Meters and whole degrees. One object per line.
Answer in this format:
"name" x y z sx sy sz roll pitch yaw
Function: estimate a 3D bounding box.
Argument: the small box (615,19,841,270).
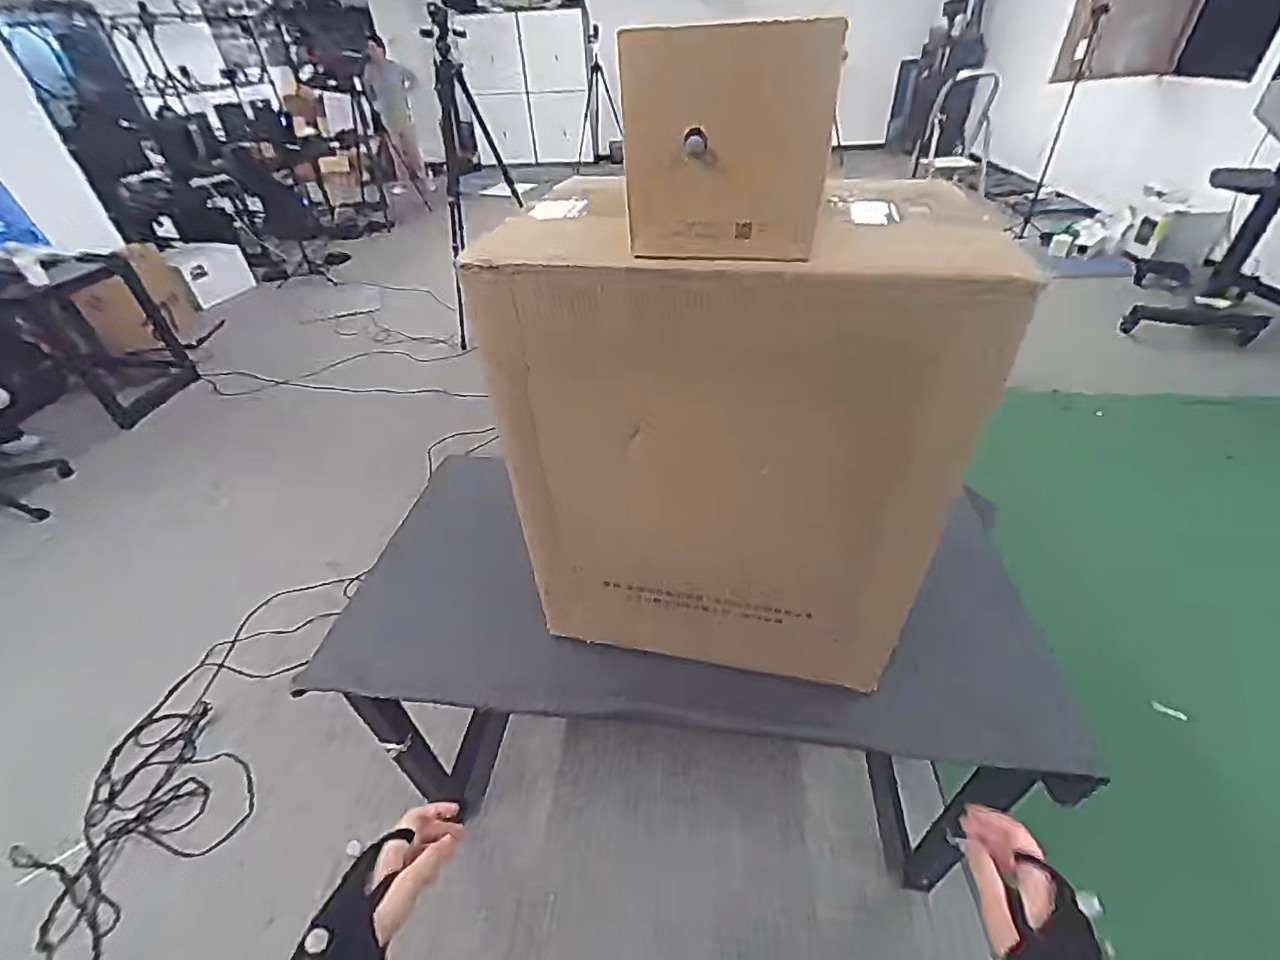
"small box" 0.083 -0.305 0.499 0.168 0.176 0.179 5 42 11
